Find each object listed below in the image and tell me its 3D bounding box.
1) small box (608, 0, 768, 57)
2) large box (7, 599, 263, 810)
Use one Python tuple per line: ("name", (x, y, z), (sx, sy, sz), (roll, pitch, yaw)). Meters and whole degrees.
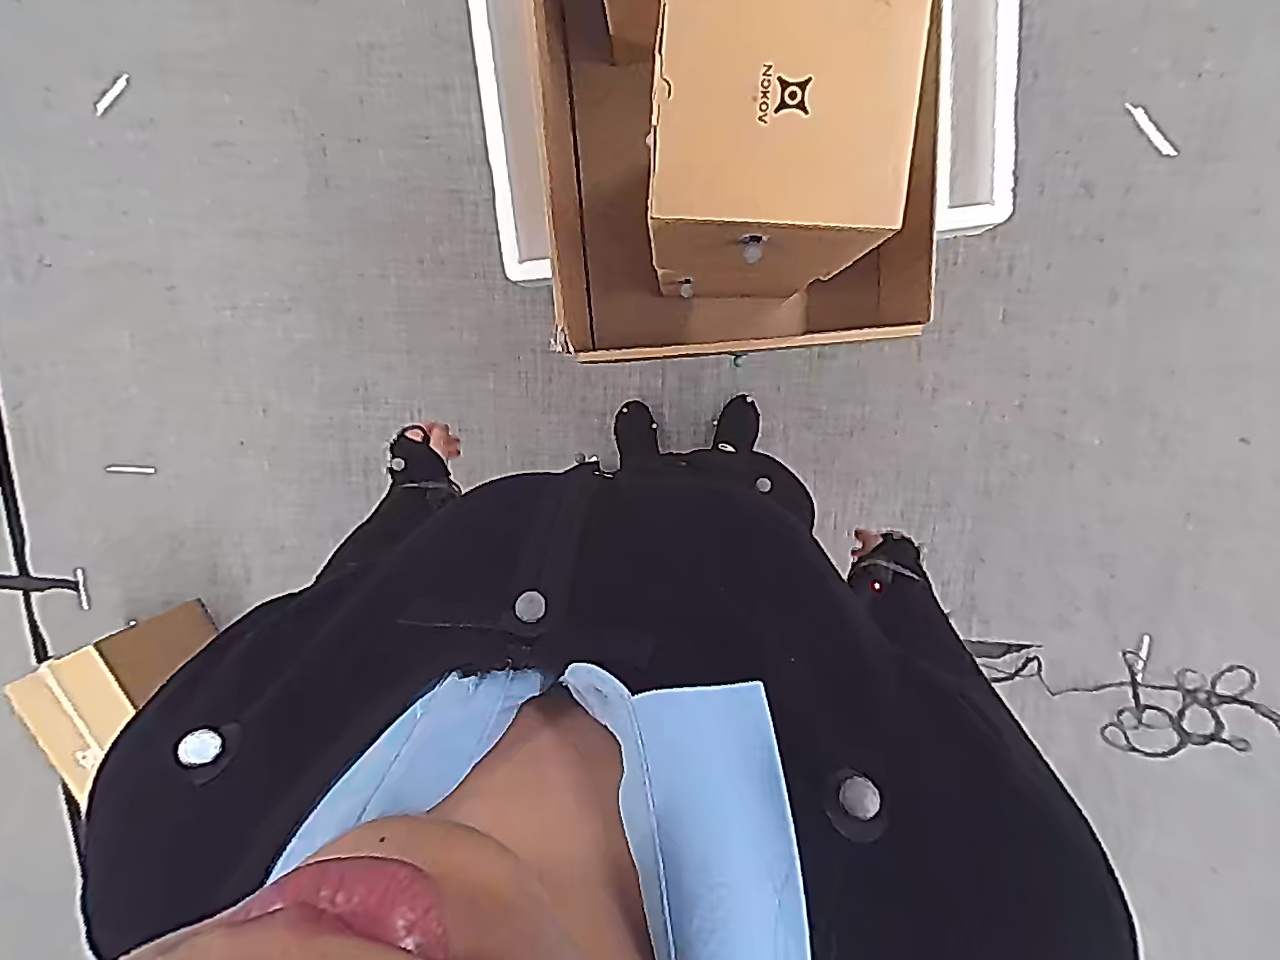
("small box", (0.046, -0.572, 0.544), (0.179, 0.176, 0.168), (-7, 101, 4))
("large box", (-1.414, 0.625, 1.555), (0.320, 0.320, 0.408), (-25, 98, 9))
